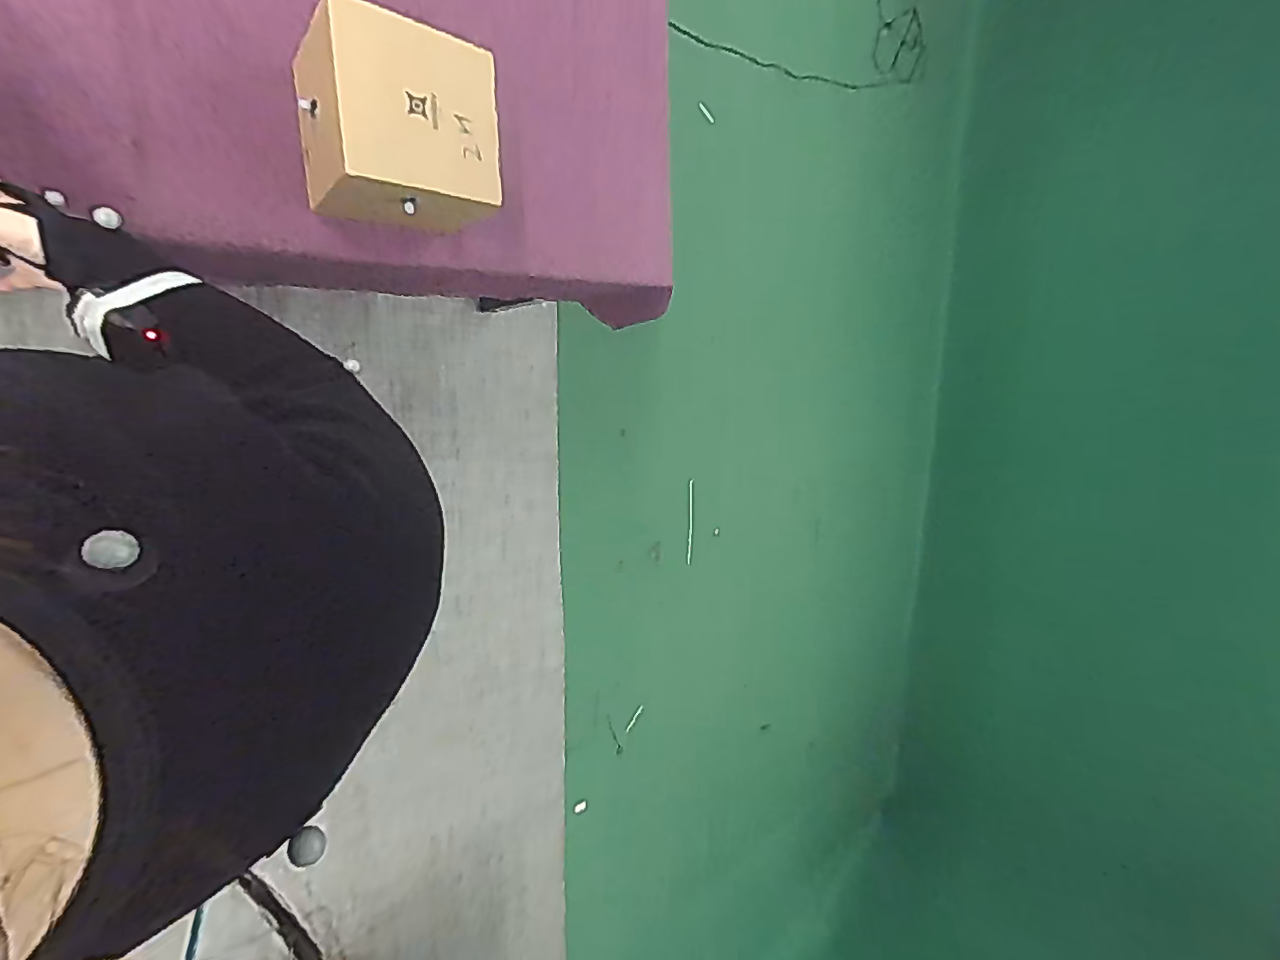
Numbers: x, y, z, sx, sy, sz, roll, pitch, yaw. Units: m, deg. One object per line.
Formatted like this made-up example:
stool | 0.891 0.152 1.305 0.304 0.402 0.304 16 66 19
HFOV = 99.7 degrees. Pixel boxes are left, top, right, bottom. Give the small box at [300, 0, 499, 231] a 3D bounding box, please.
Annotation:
small box | -0.289 -0.410 0.646 0.179 0.176 0.168 -10 105 -41
